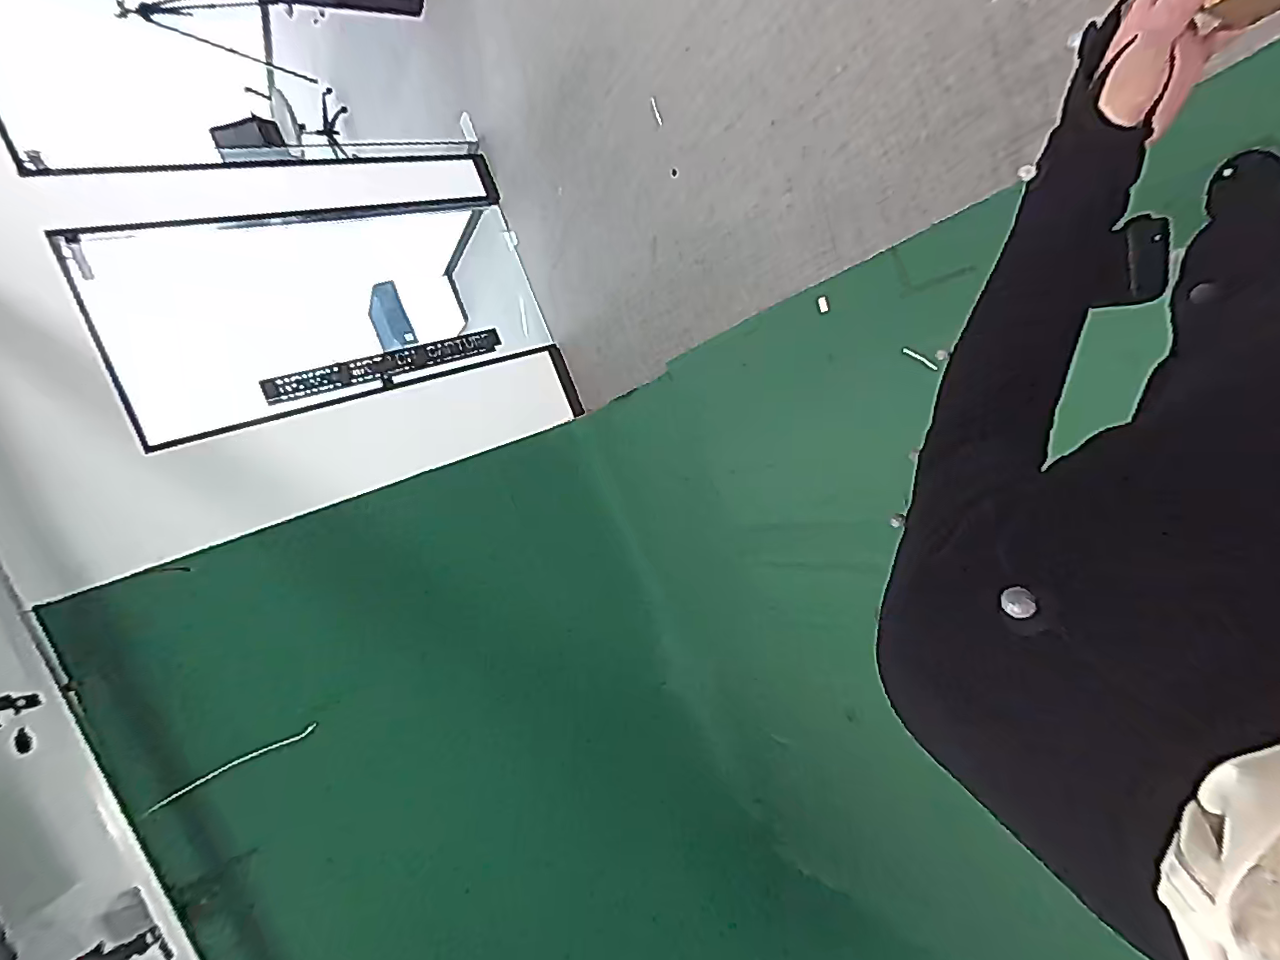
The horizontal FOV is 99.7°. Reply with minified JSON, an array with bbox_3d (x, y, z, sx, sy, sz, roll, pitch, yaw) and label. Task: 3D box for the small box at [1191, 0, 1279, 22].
[{"bbox_3d":[0.397,-0.383,0.276,0.168,0.176,0.179,-7,108,55],"label":"small box"}]
